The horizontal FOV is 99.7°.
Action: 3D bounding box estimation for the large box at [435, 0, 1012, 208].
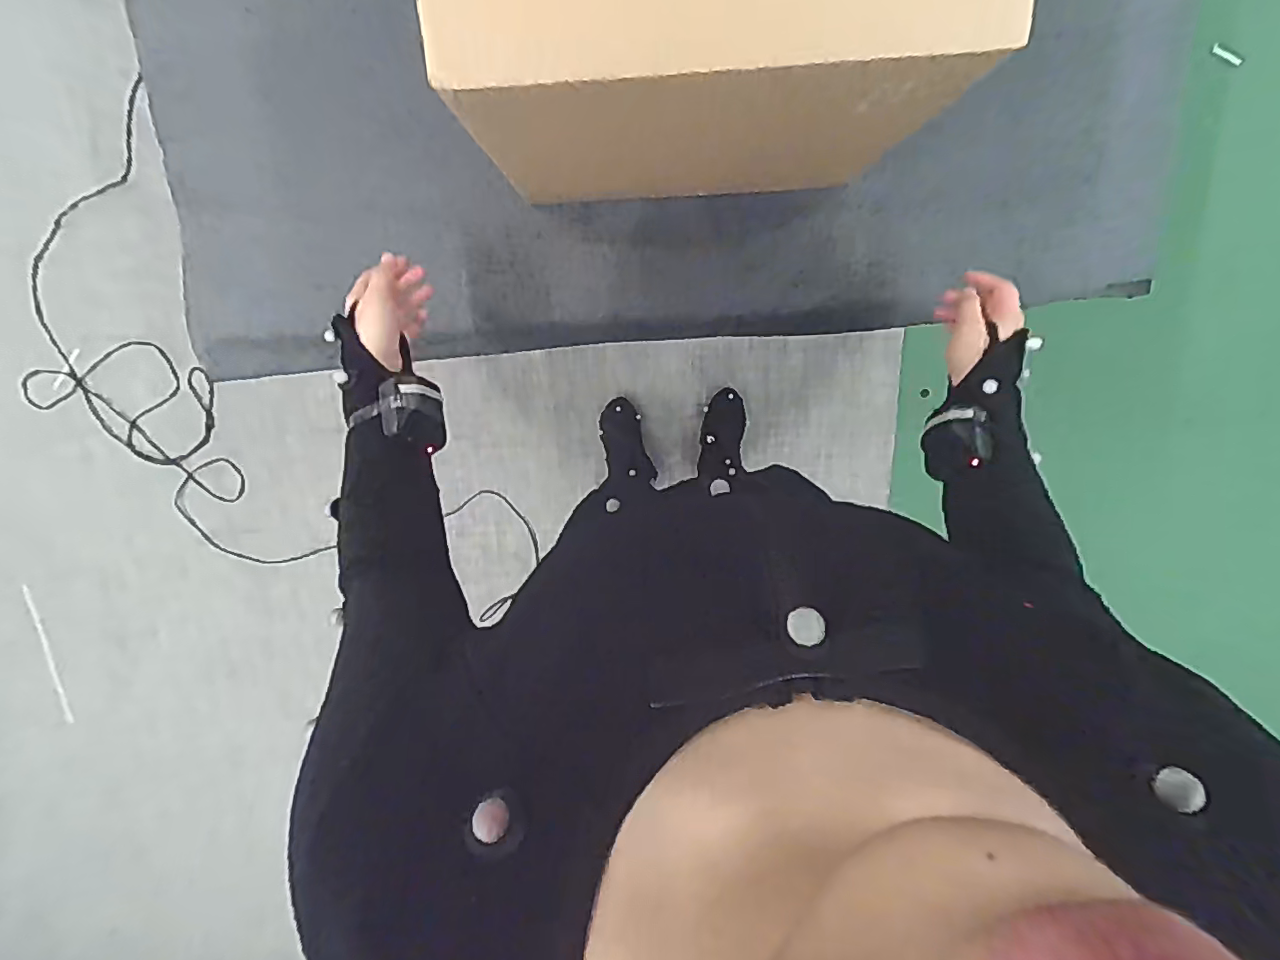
[{"bbox_3d":[0.047,-0.467,0.492,0.408,0.320,0.320,-4,104,1],"label":"large box"}]
